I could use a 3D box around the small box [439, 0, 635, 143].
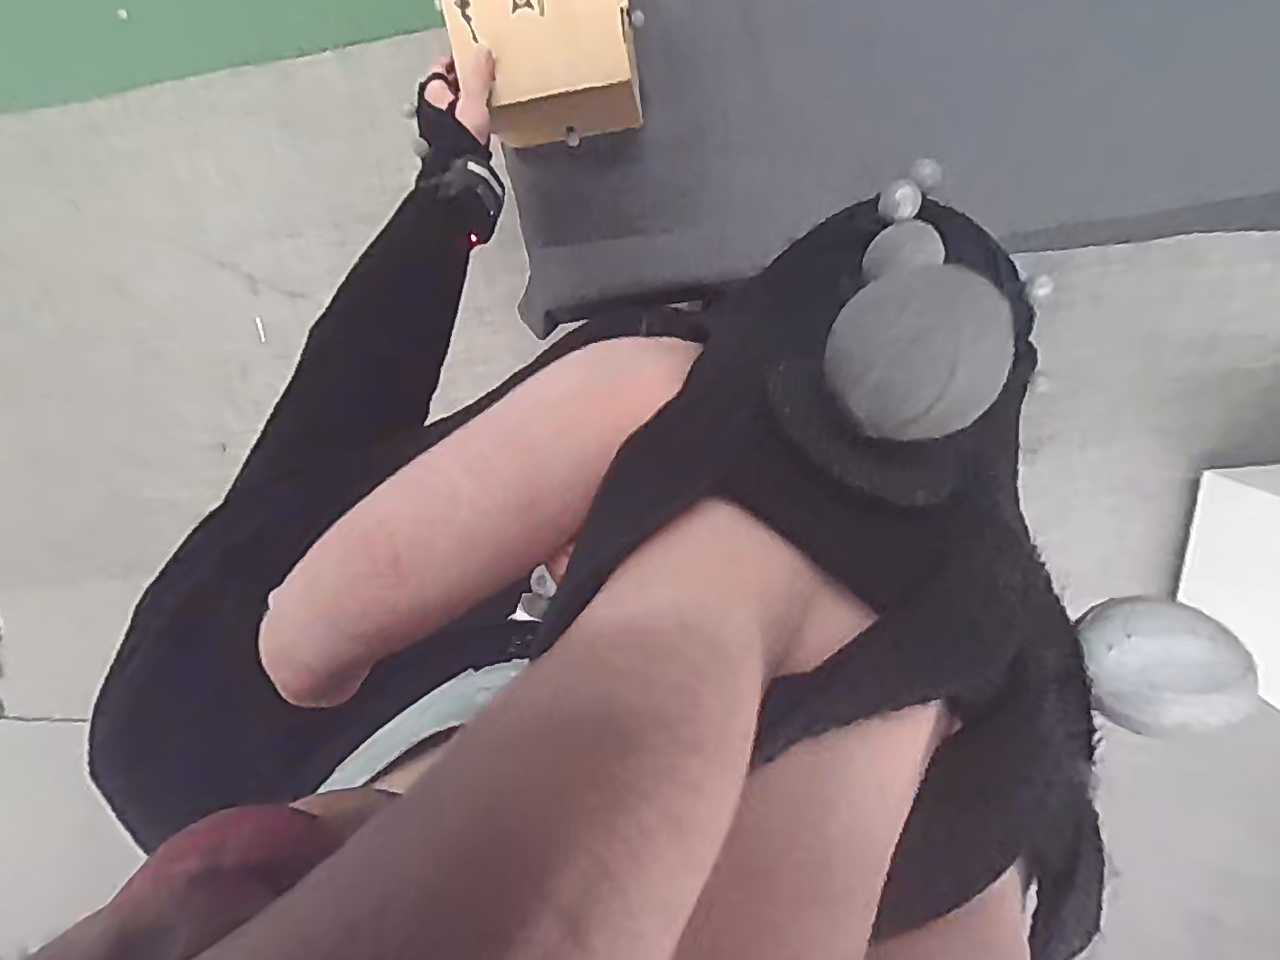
[{"bbox_3d":[-0.101,-0.486,0.584,0.179,0.176,0.168,-6,110,6],"label":"small box"}]
